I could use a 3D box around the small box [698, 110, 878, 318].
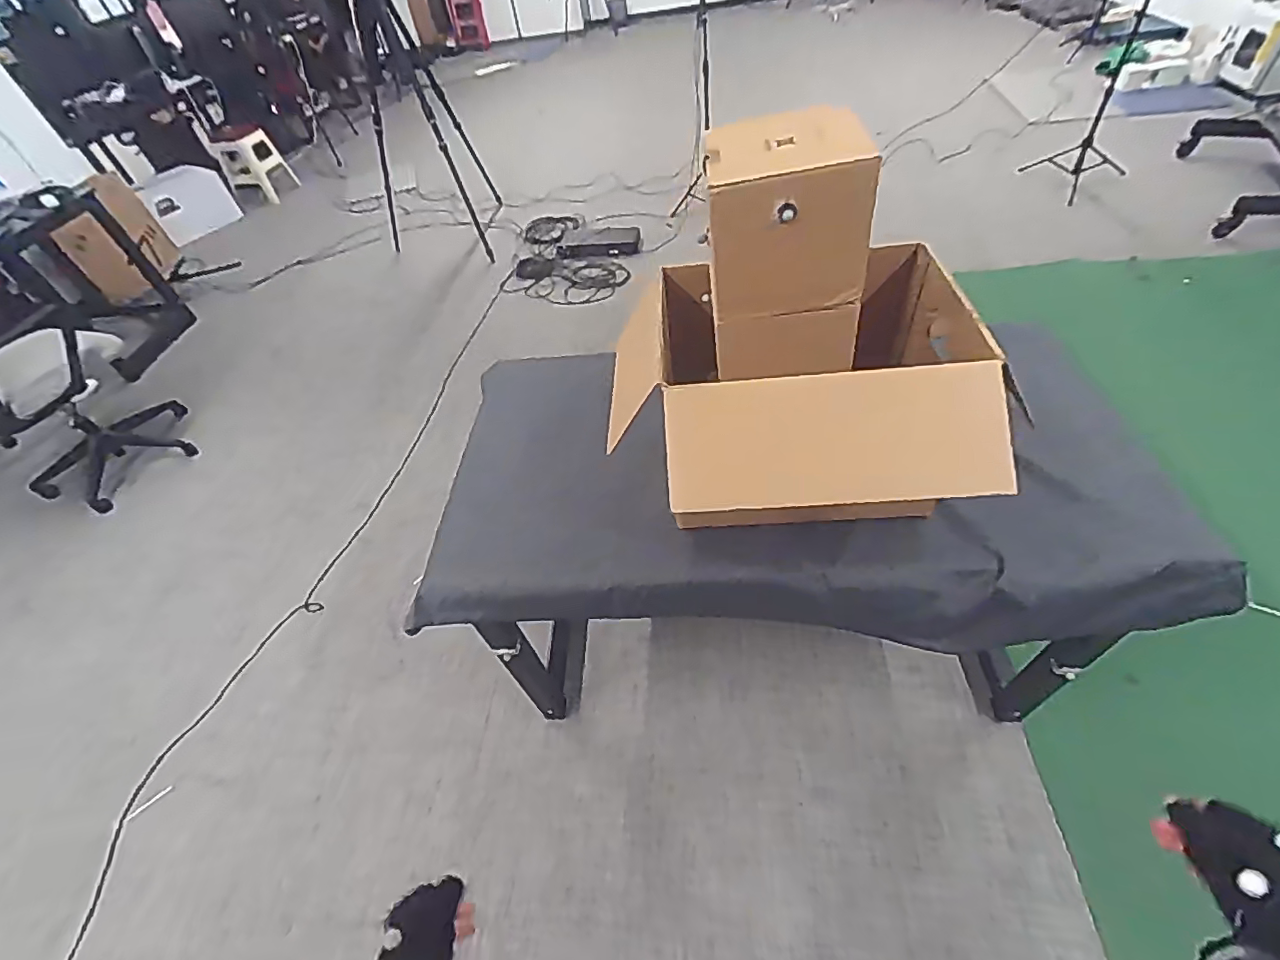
[{"bbox_3d":[0.169,-0.317,0.662,0.179,0.176,0.168,-5,50,7],"label":"small box"}]
